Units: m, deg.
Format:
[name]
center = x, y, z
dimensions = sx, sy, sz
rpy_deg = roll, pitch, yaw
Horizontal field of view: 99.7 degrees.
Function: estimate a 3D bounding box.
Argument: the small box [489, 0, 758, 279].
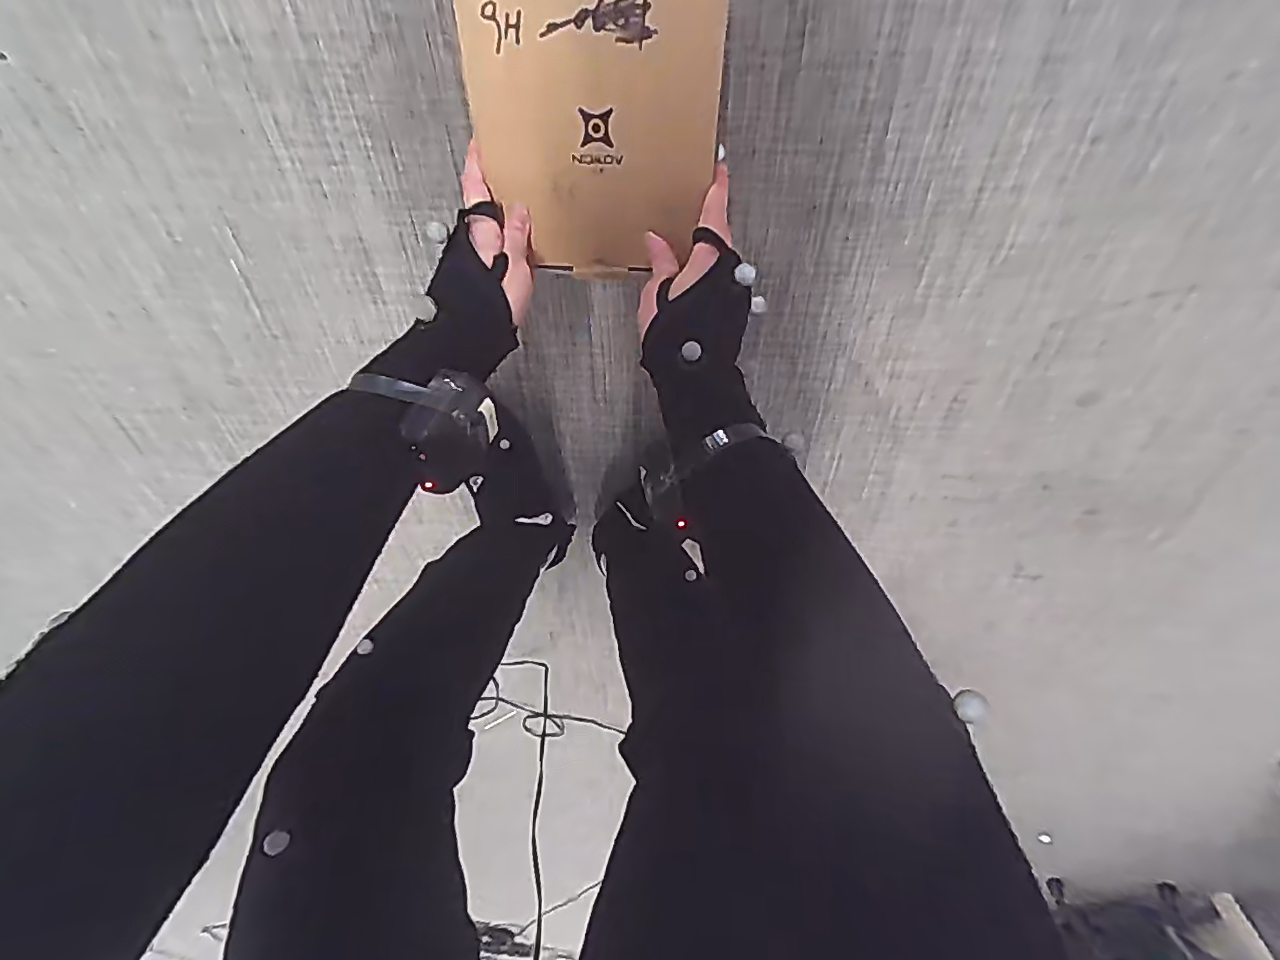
[small box]
center = -0.005, -0.280, 0.436
dimensions = 0.168, 0.176, 0.179
rpy_deg = 1, 131, 3
